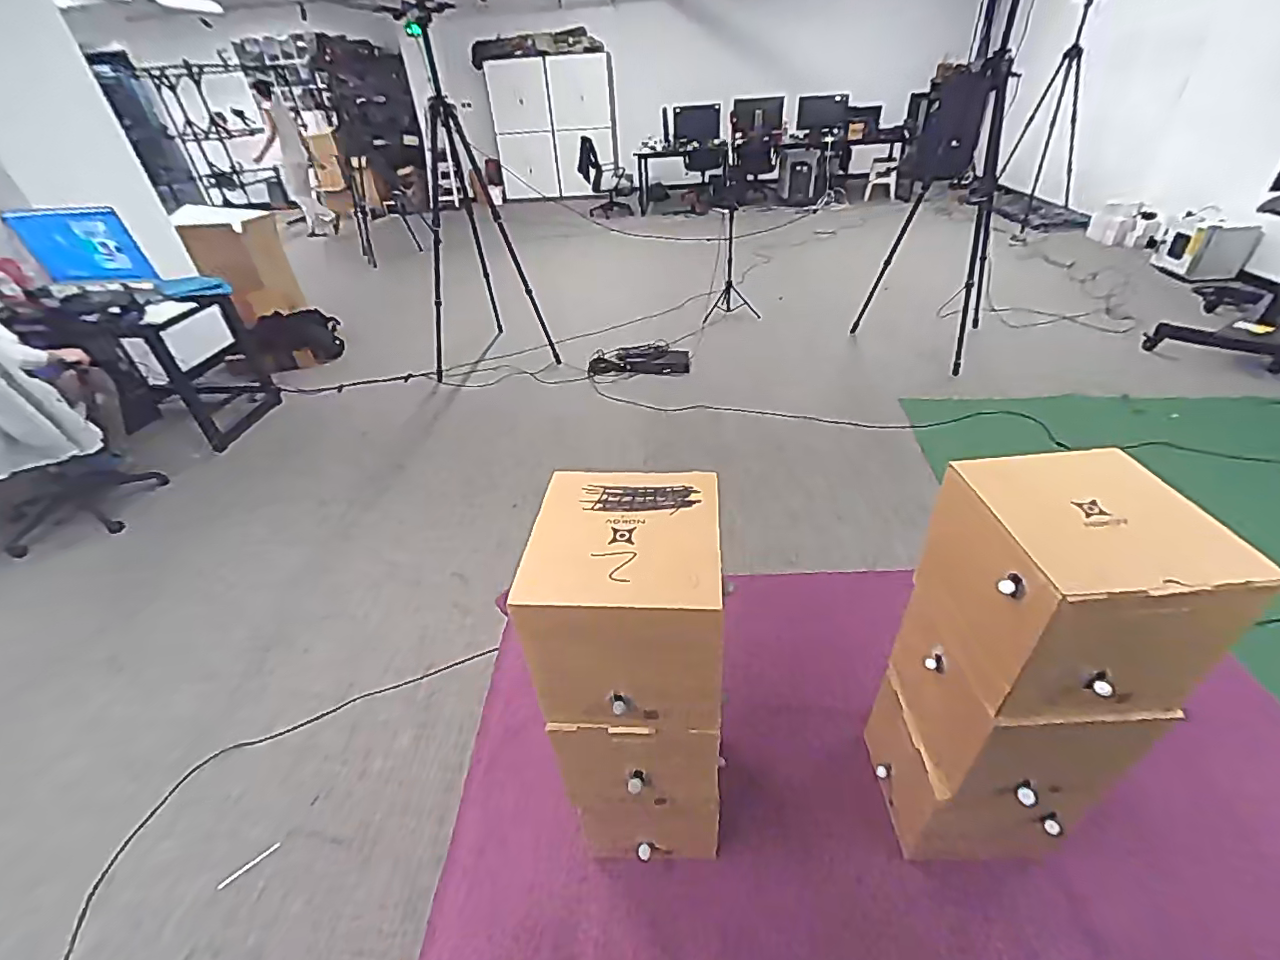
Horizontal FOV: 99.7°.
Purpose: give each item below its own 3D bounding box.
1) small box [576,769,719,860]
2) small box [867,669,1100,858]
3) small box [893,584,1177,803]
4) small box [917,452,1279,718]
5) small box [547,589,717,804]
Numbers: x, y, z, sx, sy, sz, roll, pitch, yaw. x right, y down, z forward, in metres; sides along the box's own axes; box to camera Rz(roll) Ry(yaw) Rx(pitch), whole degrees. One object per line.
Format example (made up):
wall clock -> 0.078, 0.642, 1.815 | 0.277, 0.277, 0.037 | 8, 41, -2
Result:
small box -> 0.016, 0.372, 0.722 | 0.168, 0.176, 0.179 | -1, 37, 5
small box -> 0.415, 0.360, 0.694 | 0.179, 0.176, 0.168 | -2, 36, 3
small box -> 0.404, 0.228, 0.599 | 0.168, 0.176, 0.179 | -4, 37, 3
small box -> 0.389, 0.094, 0.507 | 0.168, 0.176, 0.179 | -5, 37, 1
small box -> 0.003, 0.246, 0.618 | 0.168, 0.176, 0.179 | -1, 38, 5
